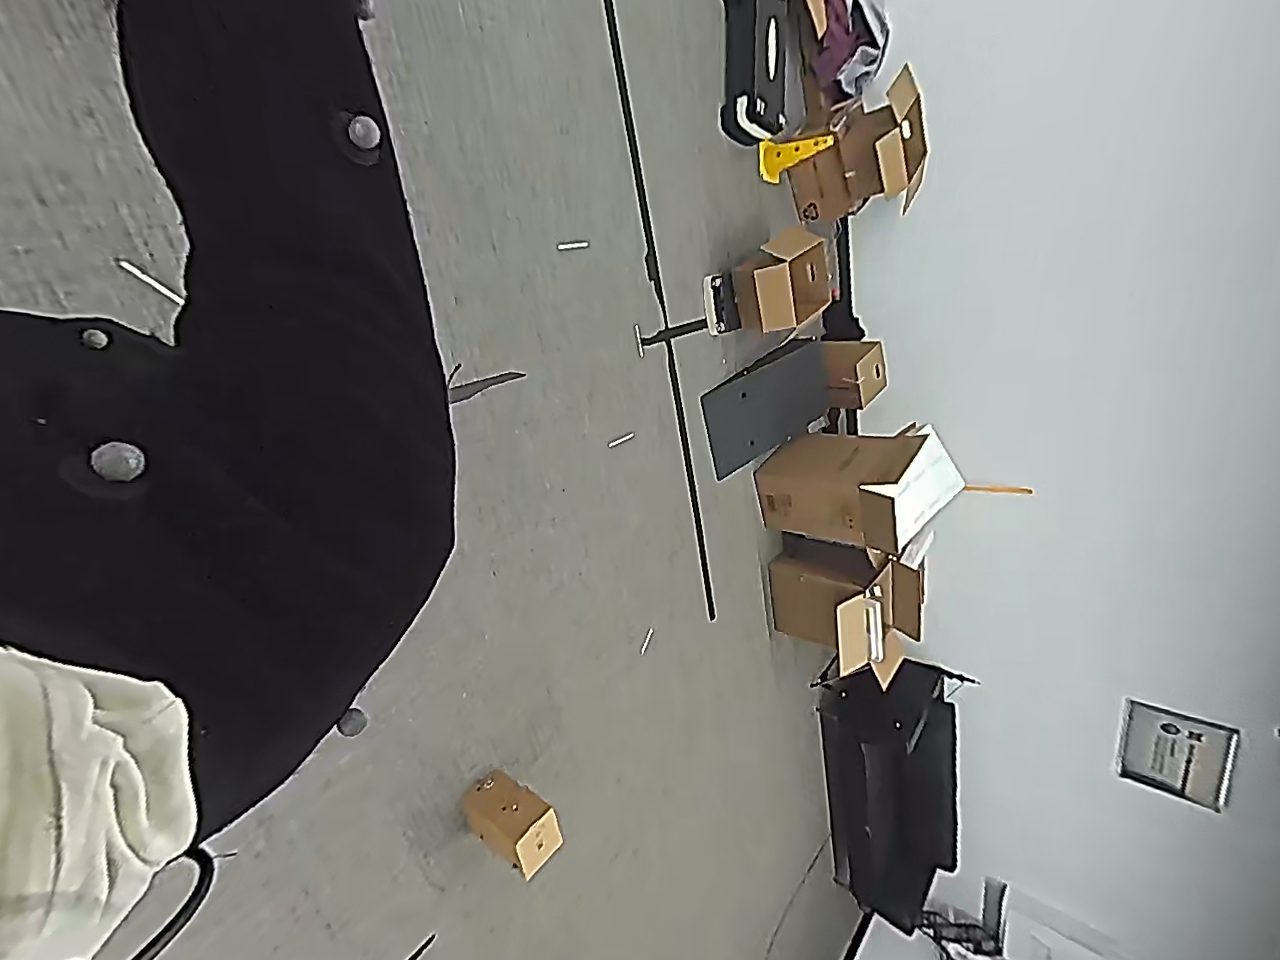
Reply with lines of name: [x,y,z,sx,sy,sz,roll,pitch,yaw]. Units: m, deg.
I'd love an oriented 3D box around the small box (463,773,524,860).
small box: [-0.520,1.222,1.976,0.168,0.176,0.179,-28,116,-44]

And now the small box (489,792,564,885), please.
small box: [-0.394,1.231,1.871,0.168,0.176,0.179,-29,115,-43]
